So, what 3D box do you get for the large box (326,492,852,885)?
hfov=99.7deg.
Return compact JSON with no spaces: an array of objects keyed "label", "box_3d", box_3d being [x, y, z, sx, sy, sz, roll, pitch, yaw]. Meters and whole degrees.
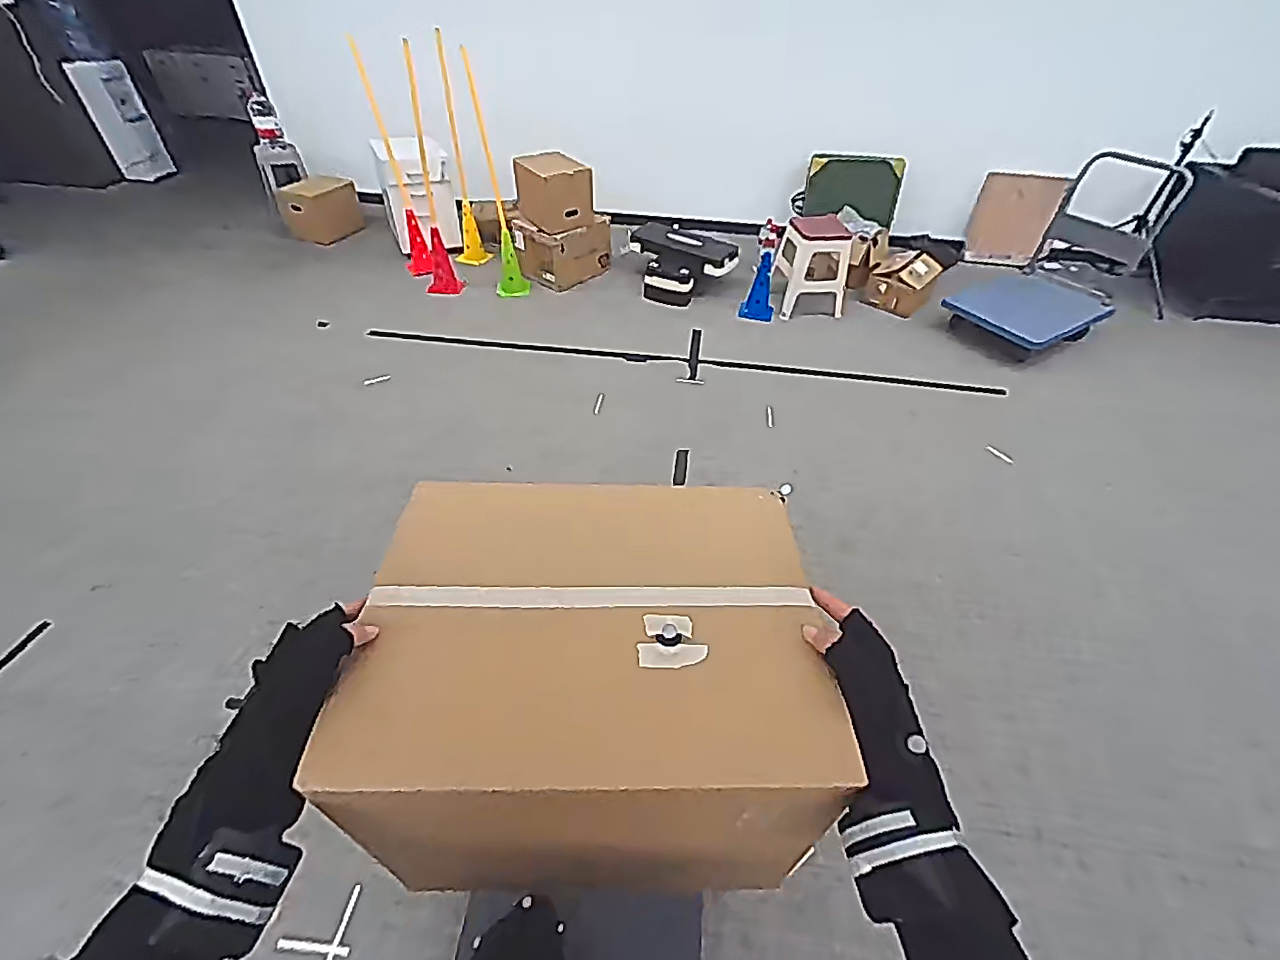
[{"label":"large box","box_3d":[-0.045,0.228,0.610,0.408,0.320,0.320,1,42,-2]}]
